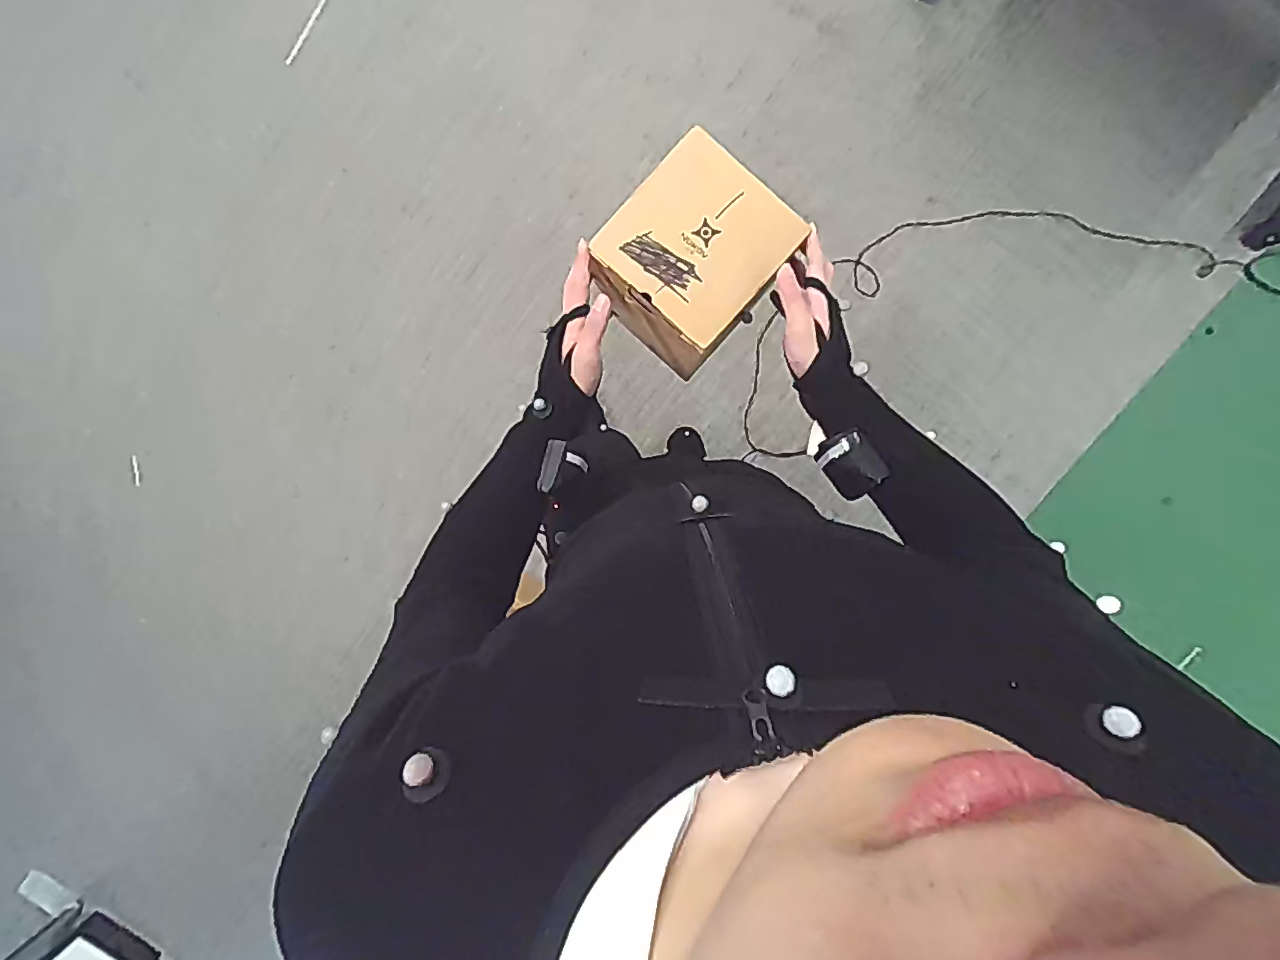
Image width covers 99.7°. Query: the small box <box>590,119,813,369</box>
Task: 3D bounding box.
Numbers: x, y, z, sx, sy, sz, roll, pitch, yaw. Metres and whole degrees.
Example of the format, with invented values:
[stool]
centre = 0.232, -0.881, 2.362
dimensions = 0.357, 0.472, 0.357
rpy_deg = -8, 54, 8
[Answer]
[small box]
centre = 0.064, -0.256, 0.636
dimensions = 0.168, 0.176, 0.179
rpy_deg = 42, 89, -1
